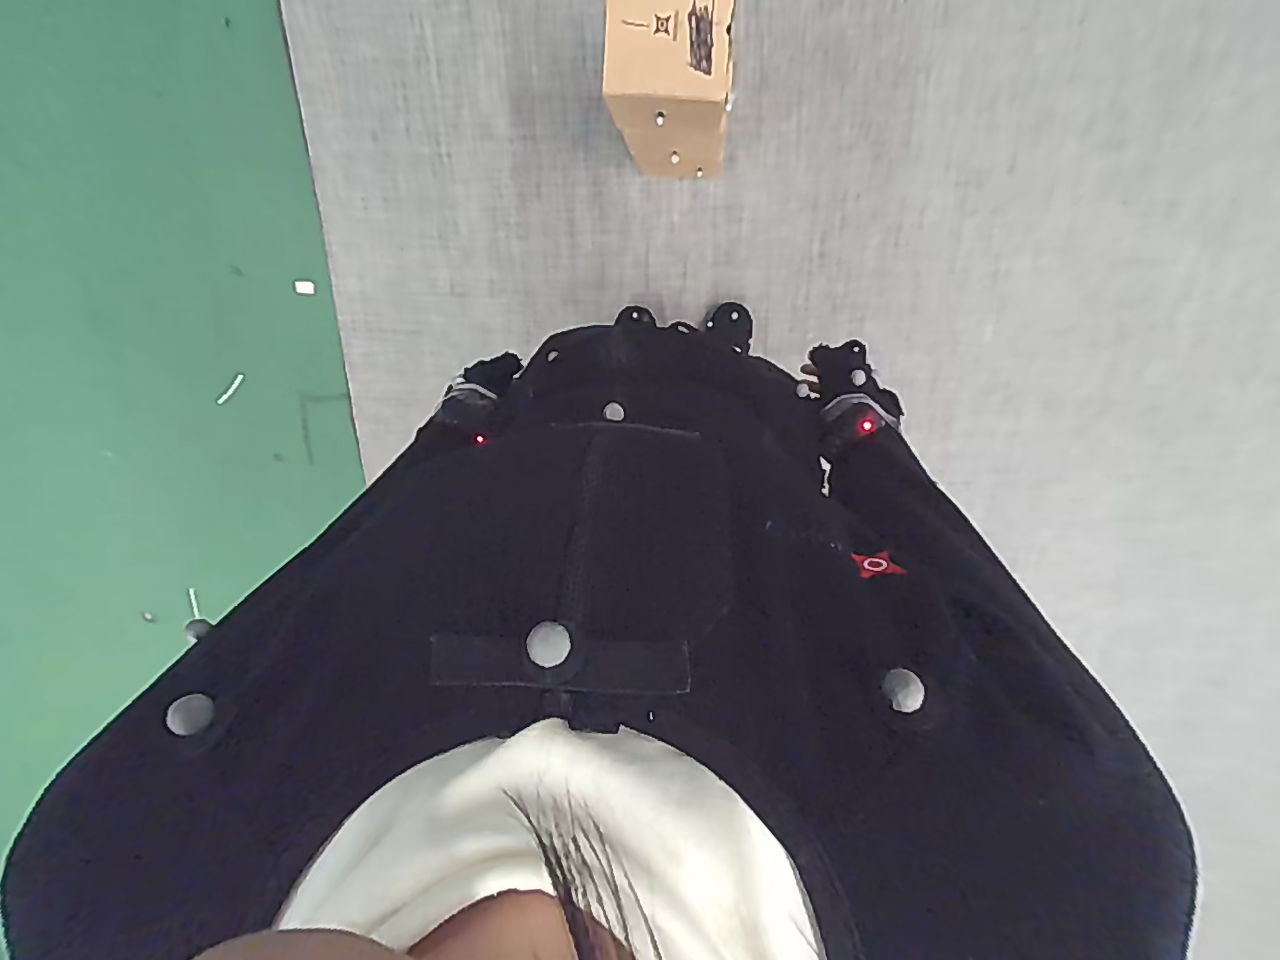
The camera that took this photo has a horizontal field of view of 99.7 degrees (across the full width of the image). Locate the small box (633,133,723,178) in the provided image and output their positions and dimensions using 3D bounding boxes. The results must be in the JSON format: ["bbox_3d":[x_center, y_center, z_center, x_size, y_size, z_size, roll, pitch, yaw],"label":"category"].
[{"bbox_3d":[0.083,-0.740,1.125,0.179,0.176,0.168,3,108,6],"label":"small box"}]

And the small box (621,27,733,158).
[{"bbox_3d":[0.064,-0.692,0.969,0.179,0.176,0.168,5,108,3],"label":"small box"}]

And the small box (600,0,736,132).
[{"bbox_3d":[0.046,-0.643,0.813,0.179,0.176,0.168,8,108,5],"label":"small box"}]
